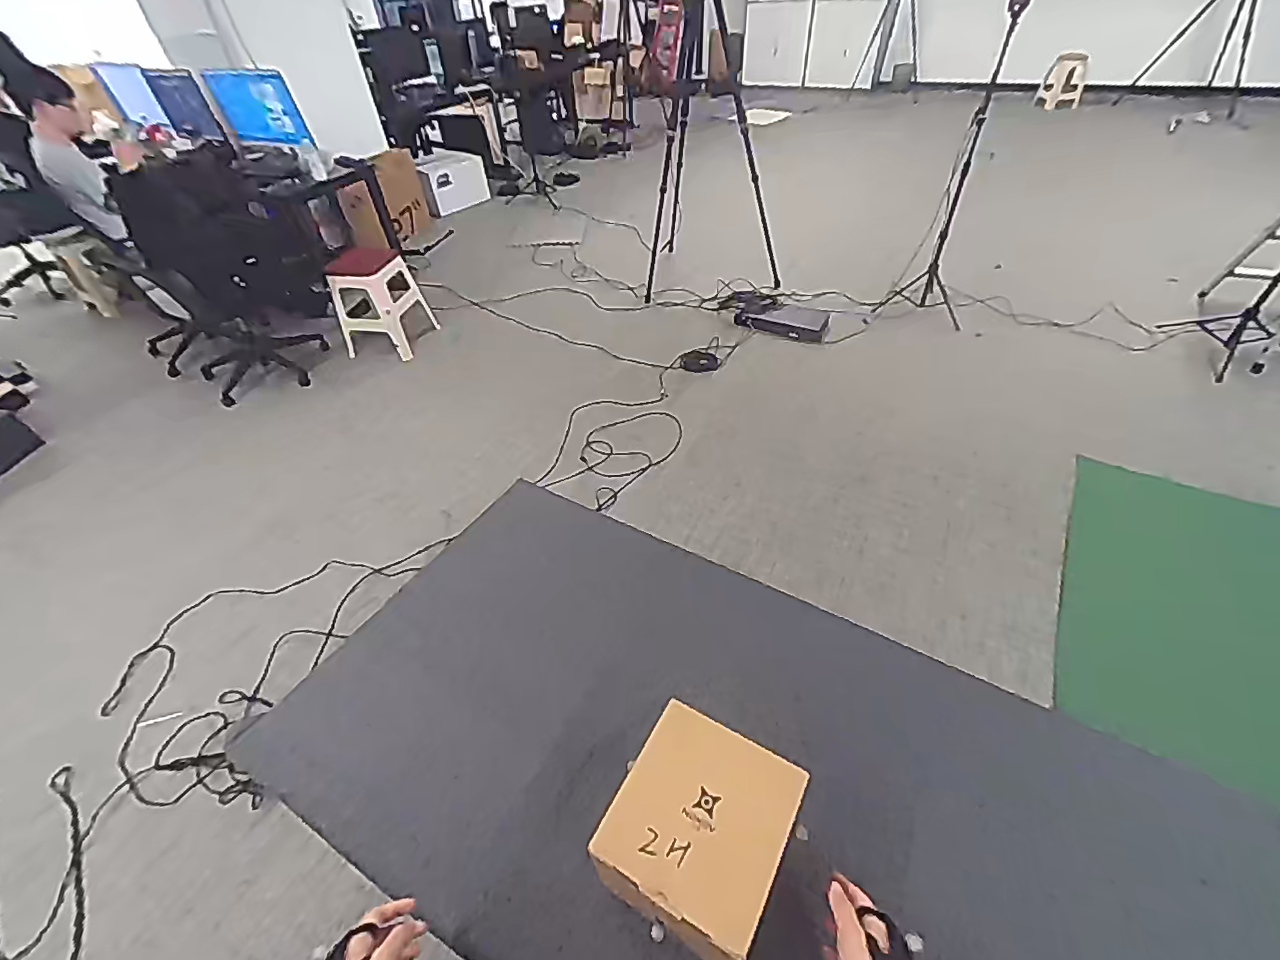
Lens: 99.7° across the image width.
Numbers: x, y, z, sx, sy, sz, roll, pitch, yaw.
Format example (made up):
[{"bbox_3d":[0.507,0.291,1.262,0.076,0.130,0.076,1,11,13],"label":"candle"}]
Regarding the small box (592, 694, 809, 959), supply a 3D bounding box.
[{"bbox_3d":[0.067,0.383,0.598,0.168,0.176,0.179,21,49,24],"label":"small box"}]
